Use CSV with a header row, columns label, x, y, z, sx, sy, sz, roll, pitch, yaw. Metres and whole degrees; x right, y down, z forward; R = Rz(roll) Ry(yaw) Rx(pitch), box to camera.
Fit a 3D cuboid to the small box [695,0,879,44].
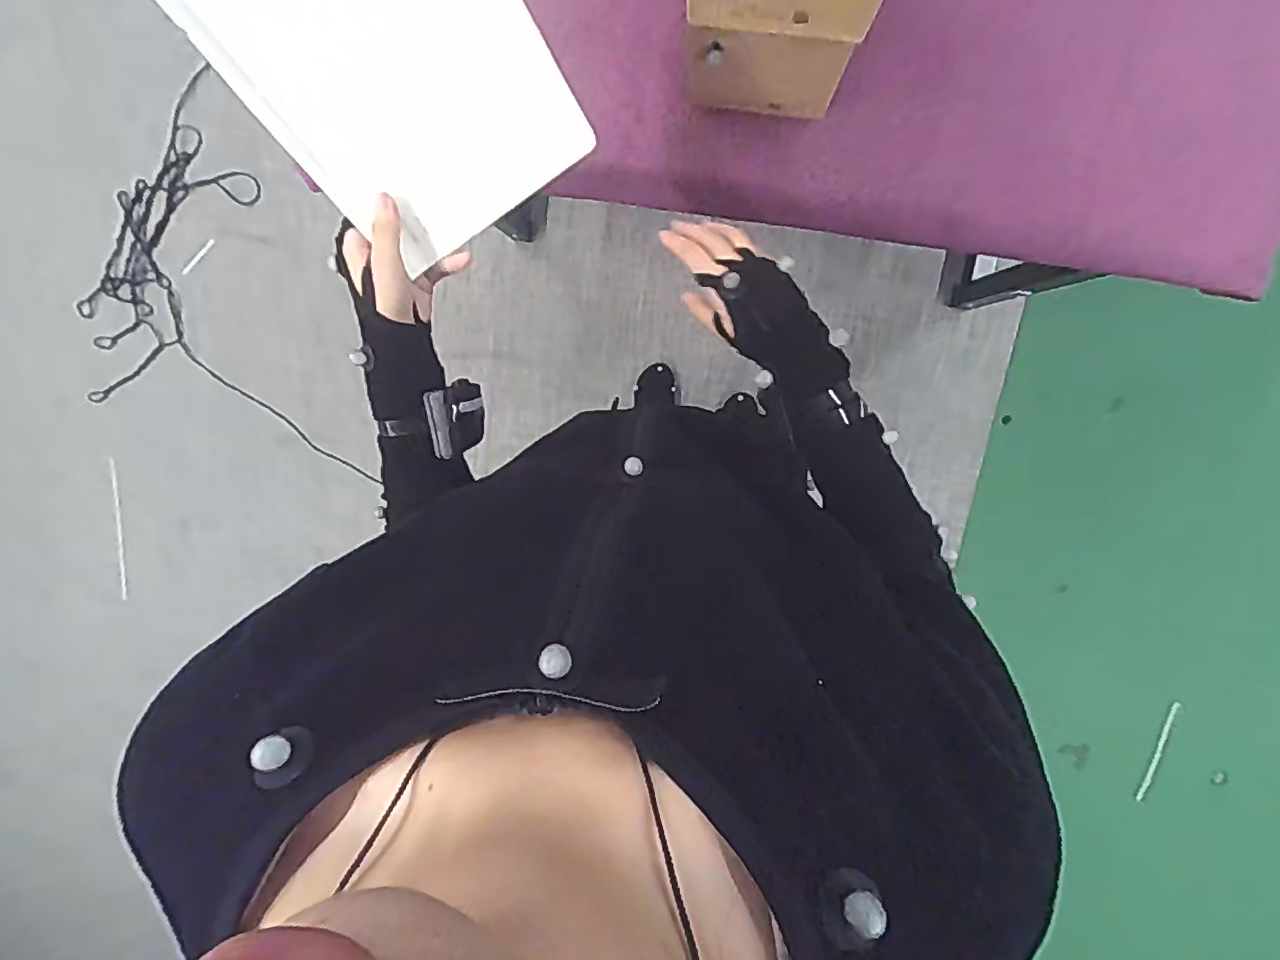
label,x,y,z,sx,sy,sz,roll,pitch,yaw
small box,0.133,-0.488,0.421,0.168,0.176,0.179,10,100,4
